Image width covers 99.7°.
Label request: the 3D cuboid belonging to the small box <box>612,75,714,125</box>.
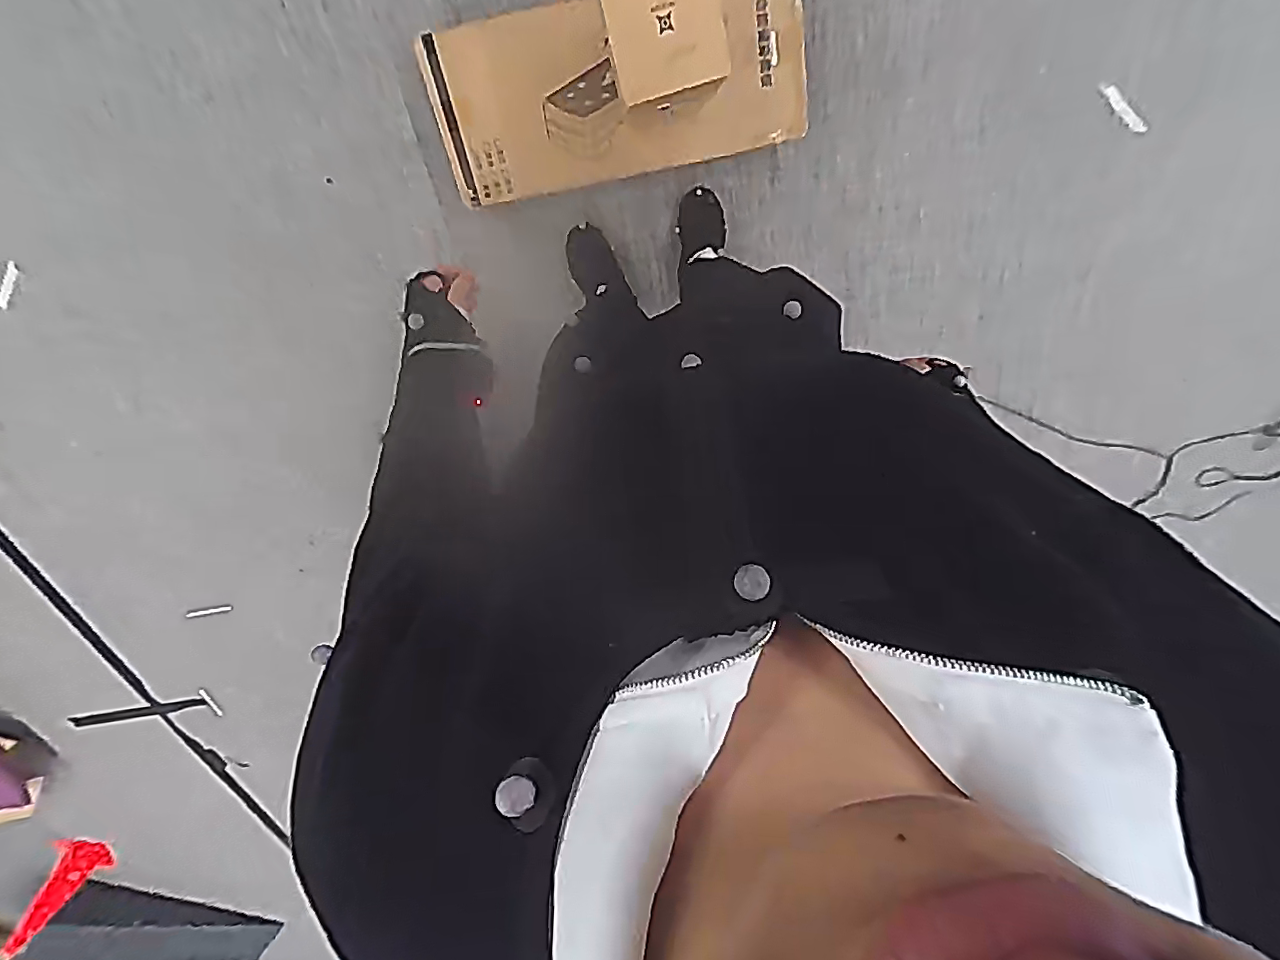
[{"bbox_3d":[0.032,-0.765,0.984,0.168,0.176,0.179,-13,119,4],"label":"small box"}]

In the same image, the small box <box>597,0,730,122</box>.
[{"bbox_3d":[0.031,-0.687,0.840,0.168,0.176,0.179,-15,118,6],"label":"small box"}]
